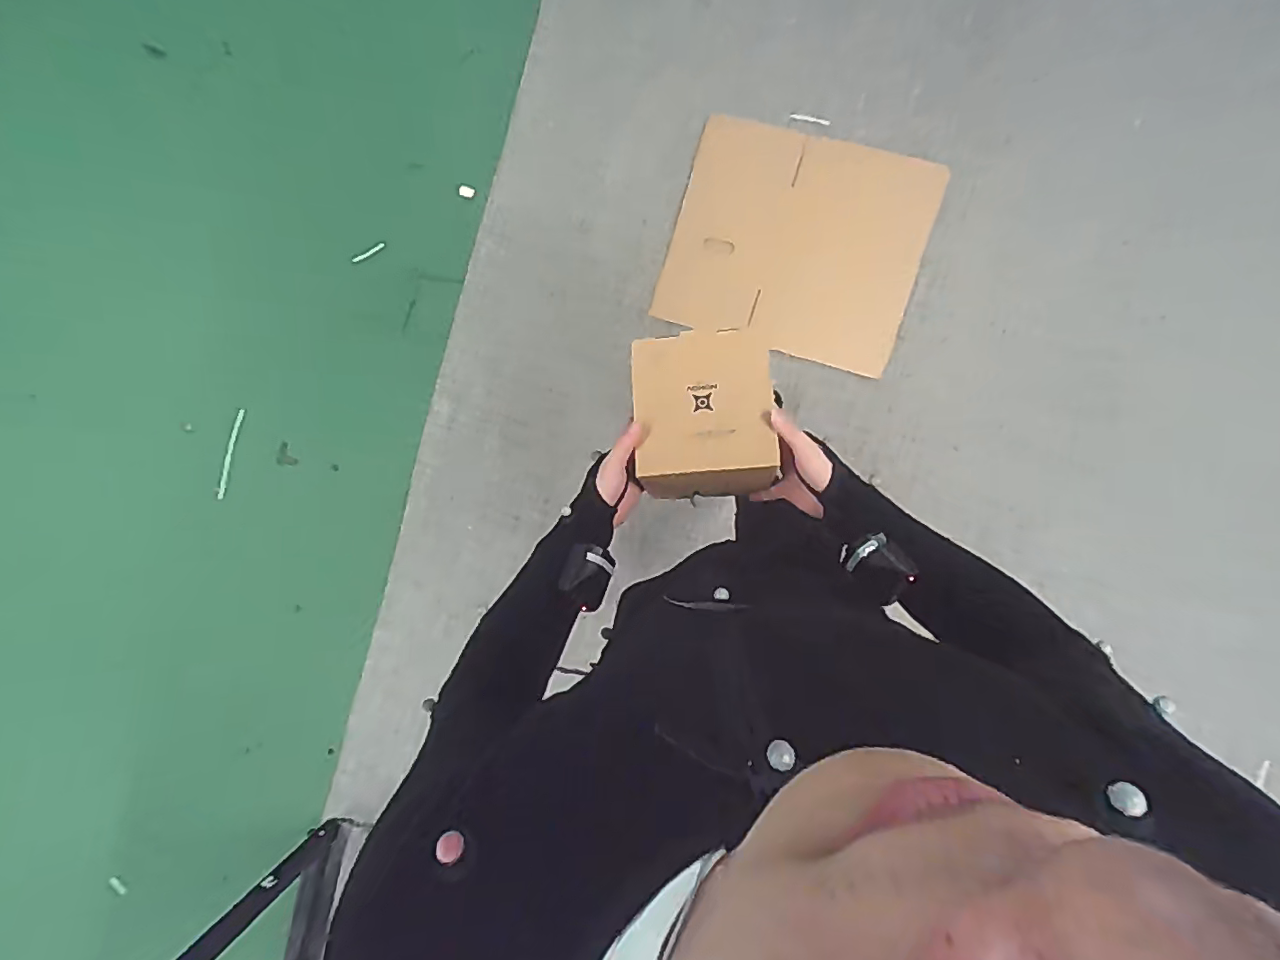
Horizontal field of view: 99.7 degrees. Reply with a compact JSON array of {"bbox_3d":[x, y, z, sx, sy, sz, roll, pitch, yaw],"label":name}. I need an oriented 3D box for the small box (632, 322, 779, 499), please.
[{"bbox_3d":[0.082,-0.080,0.701,0.168,0.176,0.179,-4,77,8],"label":"small box"}]
